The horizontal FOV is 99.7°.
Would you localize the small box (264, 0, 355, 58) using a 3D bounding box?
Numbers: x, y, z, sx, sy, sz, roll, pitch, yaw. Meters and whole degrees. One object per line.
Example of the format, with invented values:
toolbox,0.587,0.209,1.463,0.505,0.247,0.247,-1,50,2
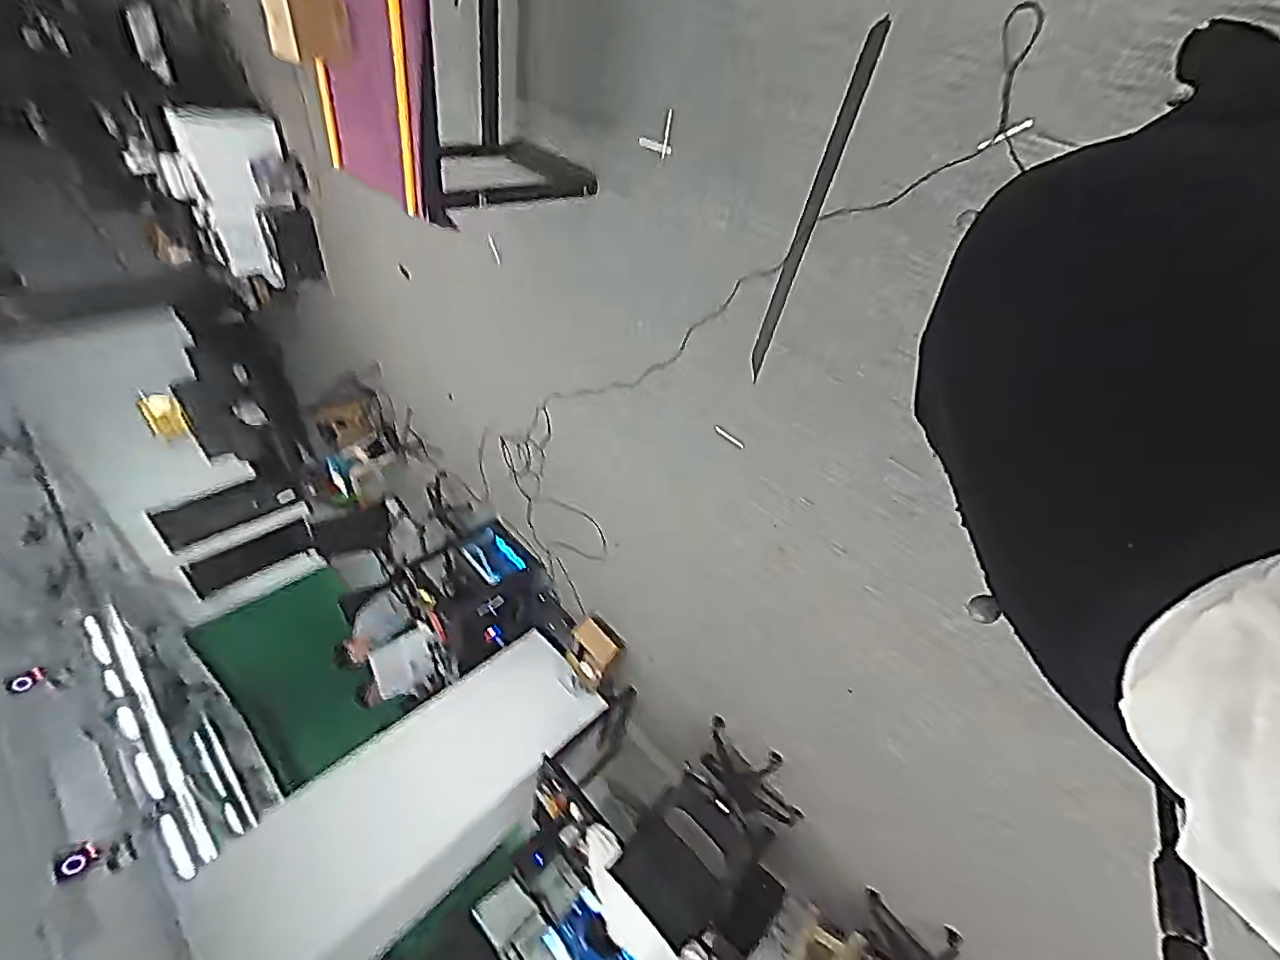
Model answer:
small box,-0.956,-1.338,1.559,0.179,0.176,0.168,37,138,26
